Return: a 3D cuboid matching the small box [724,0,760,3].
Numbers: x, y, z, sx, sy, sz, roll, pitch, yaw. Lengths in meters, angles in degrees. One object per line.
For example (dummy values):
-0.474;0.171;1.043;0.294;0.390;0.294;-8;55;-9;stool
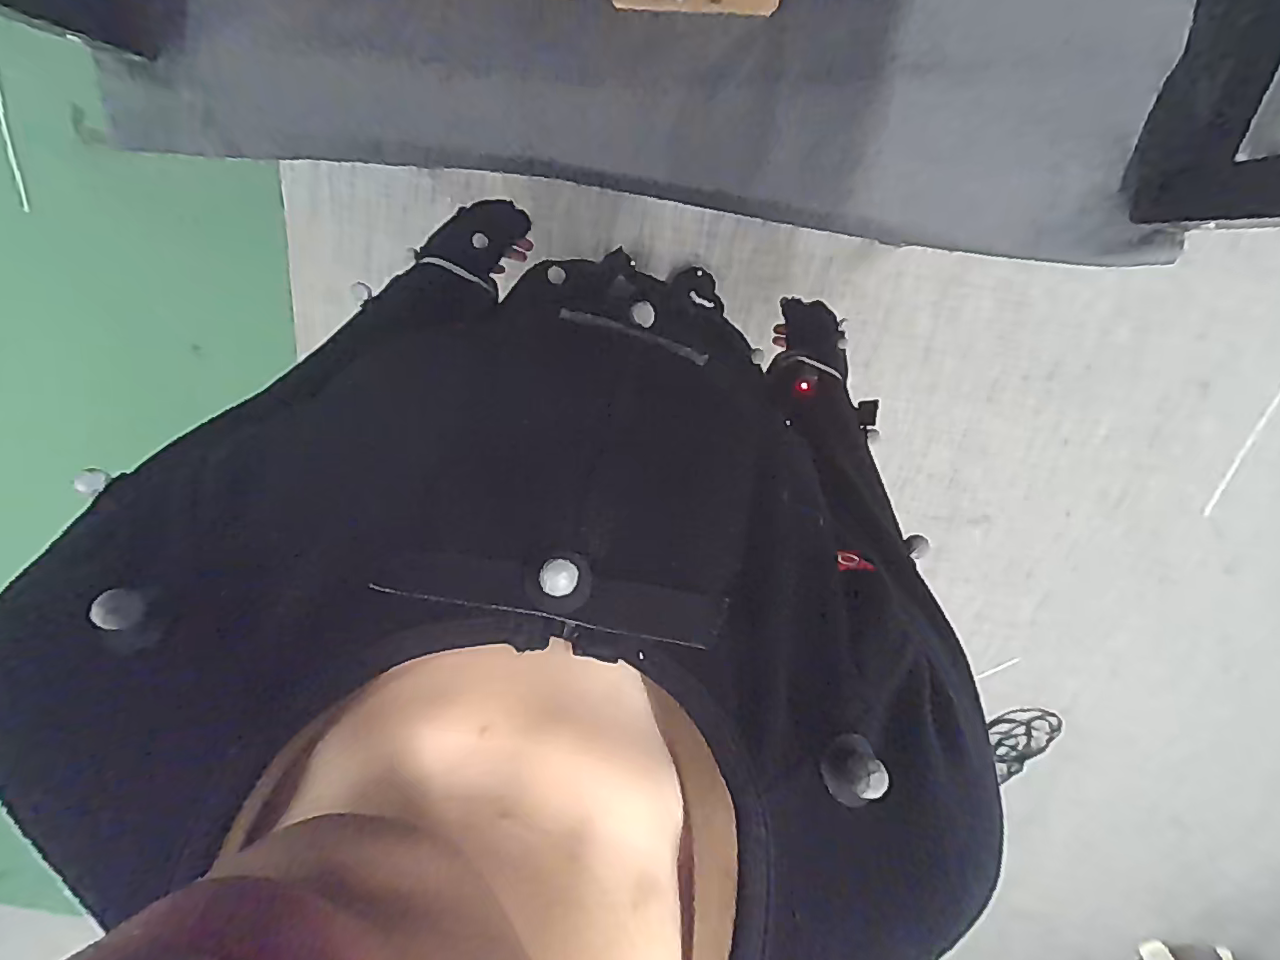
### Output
0.057;-0.538;0.442;0.168;0.176;0.179;4;114;2;small box
